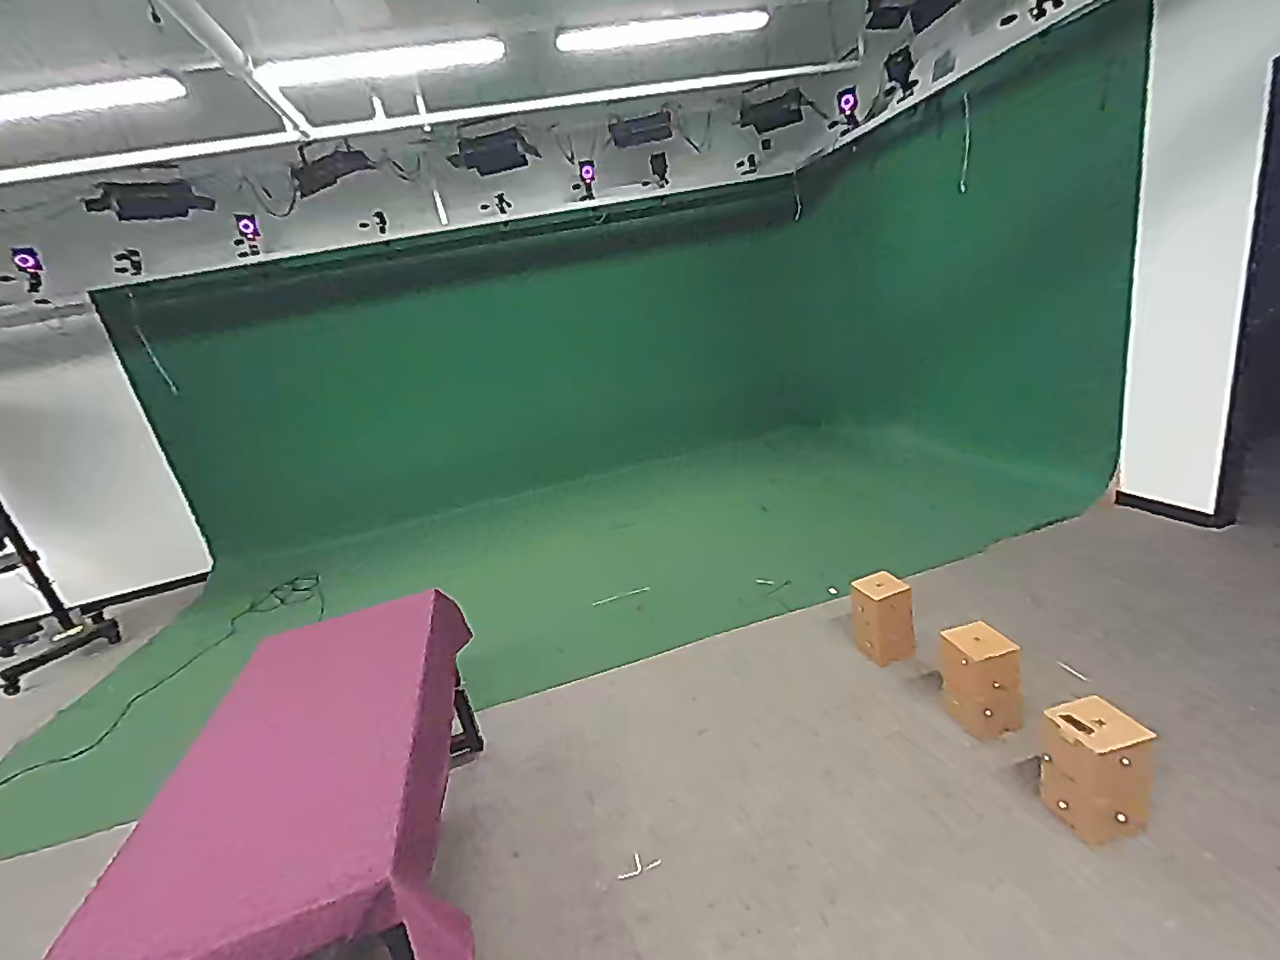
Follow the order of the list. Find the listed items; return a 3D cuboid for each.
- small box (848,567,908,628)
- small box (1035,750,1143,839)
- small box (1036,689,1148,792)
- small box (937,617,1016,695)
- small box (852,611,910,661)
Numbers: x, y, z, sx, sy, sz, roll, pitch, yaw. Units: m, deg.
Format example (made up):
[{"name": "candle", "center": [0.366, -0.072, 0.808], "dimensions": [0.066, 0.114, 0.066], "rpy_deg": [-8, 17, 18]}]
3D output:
[{"name": "small box", "center": [1.005, 0.496, 2.274], "dimensions": [0.179, 0.176, 0.168], "rpy_deg": [-15, 19, -12]}, {"name": "small box", "center": [1.262, 0.865, 1.526], "dimensions": [0.179, 0.176, 0.168], "rpy_deg": [-14, 19, -7]}, {"name": "small box", "center": [1.226, 0.712, 1.476], "dimensions": [0.179, 0.176, 0.168], "rpy_deg": [-13, 18, -6]}, {"name": "small box", "center": [1.151, 0.603, 1.859], "dimensions": [0.168, 0.176, 0.179], "rpy_deg": [-13, 18, -6]}, {"name": "small box", "center": [1.039, 0.649, 2.324], "dimensions": [0.179, 0.176, 0.168], "rpy_deg": [-15, 19, -11]}]
